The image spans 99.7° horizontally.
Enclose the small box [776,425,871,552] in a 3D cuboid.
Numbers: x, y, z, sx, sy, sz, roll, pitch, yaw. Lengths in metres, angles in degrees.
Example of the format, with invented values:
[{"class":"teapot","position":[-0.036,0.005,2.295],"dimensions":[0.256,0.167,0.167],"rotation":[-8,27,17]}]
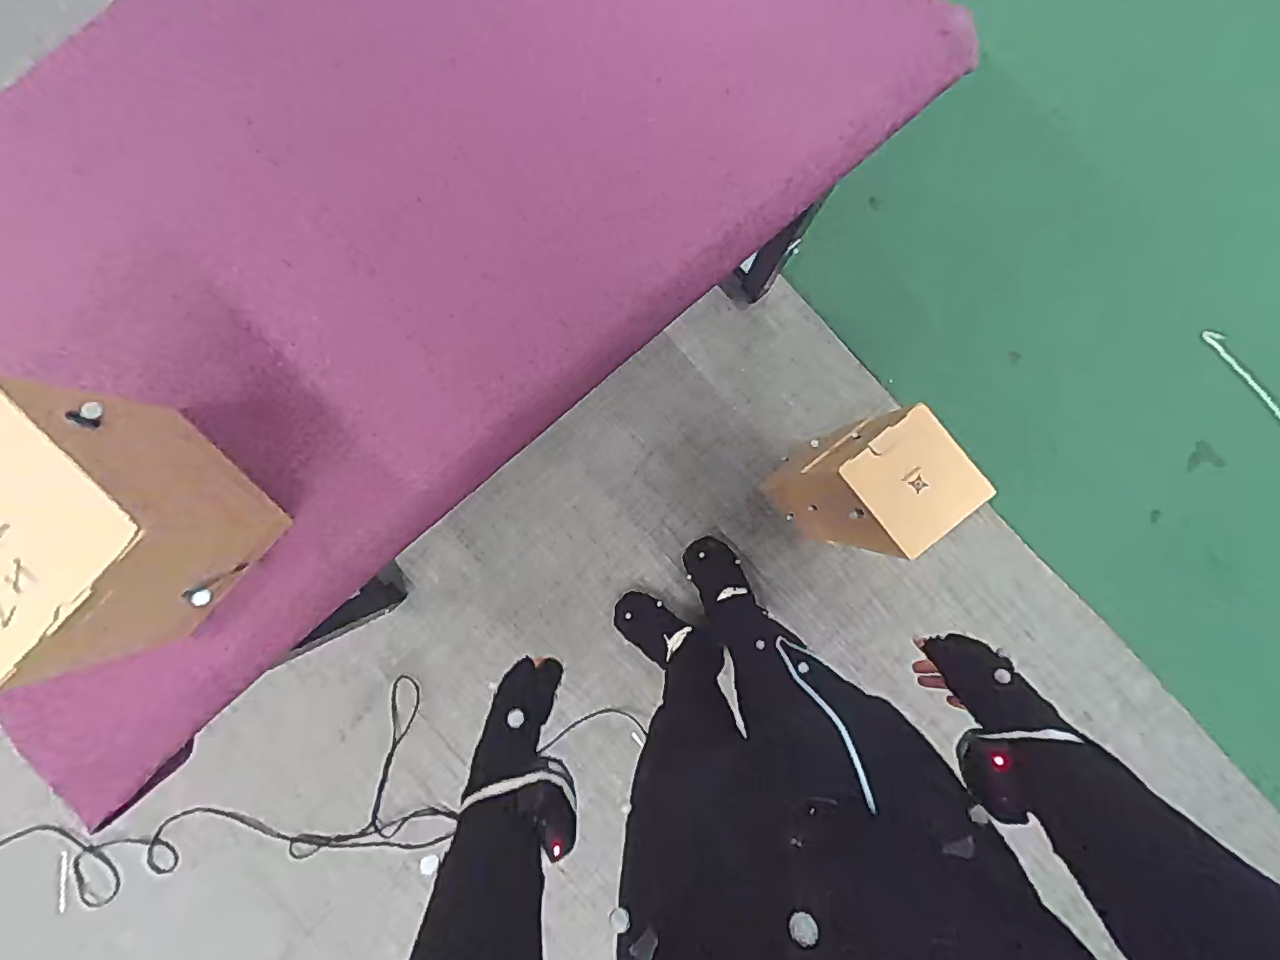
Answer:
[{"class":"small box","position":[0.394,0.016,1.049],"dimensions":[0.168,0.176,0.179],"rotation":[-37,88,-1]}]

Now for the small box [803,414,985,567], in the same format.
[{"class":"small box","position":[0.402,0.016,0.887],"dimensions":[0.168,0.176,0.179],"rotation":[-38,88,-1]}]

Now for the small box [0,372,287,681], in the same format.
[{"class":"small box","position":[-0.474,0.039,0.476],"dimensions":[0.179,0.176,0.168],"rotation":[44,89,2]}]
